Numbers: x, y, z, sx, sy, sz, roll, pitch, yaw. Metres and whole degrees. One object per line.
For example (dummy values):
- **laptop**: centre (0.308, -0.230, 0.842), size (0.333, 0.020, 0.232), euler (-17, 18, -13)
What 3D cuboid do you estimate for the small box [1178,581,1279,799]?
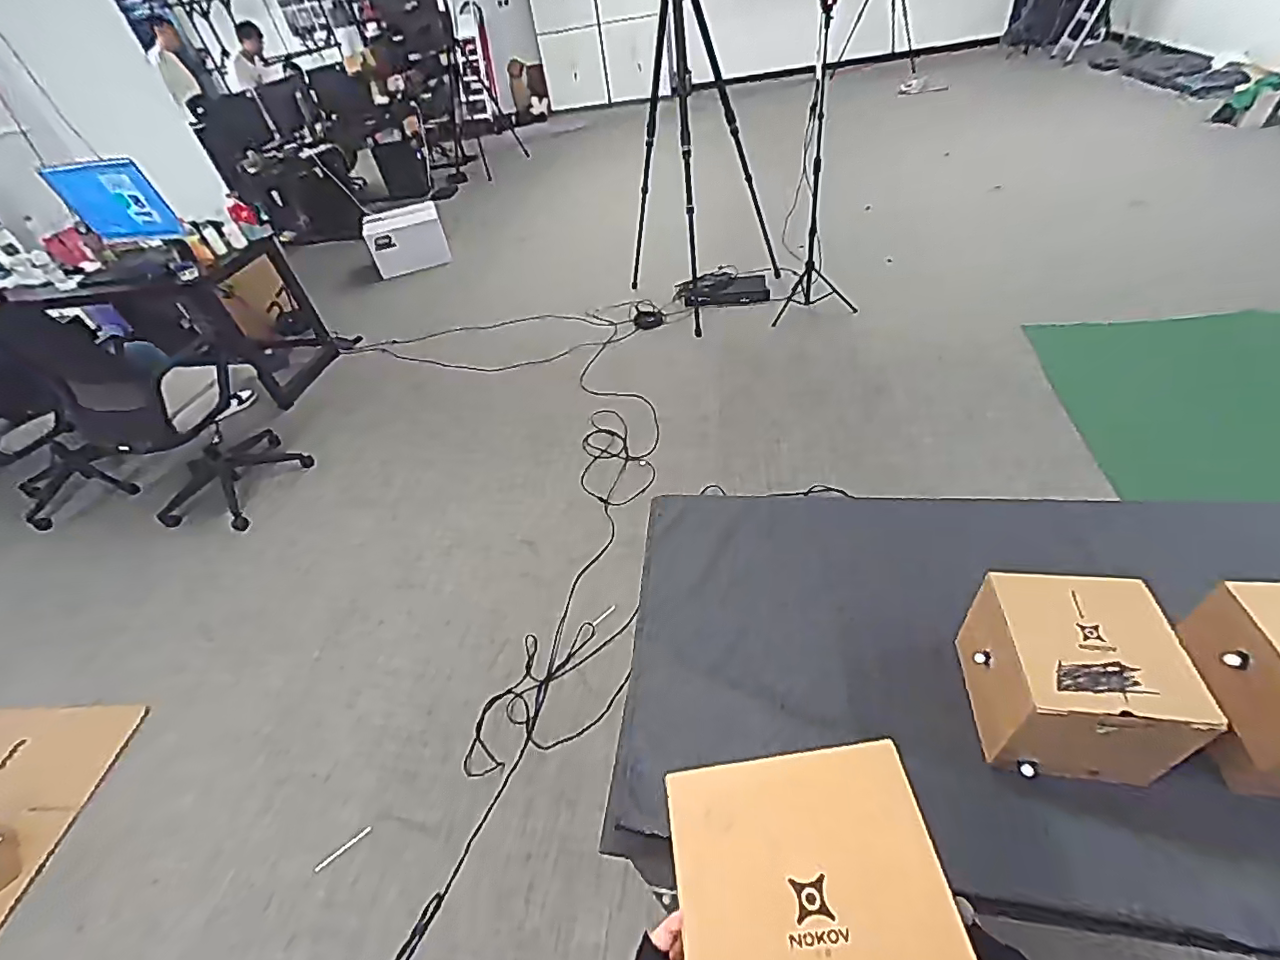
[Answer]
- **small box**: centre (0.743, 0.233, 0.594), size (0.168, 0.176, 0.179), euler (-1, 44, 12)

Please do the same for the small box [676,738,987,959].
- **small box**: centre (0.125, 0.311, 0.384), size (0.168, 0.176, 0.179), euler (-11, 46, 5)

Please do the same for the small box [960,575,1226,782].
- **small box**: centre (0.507, 0.236, 0.644), size (0.168, 0.176, 0.179), euler (0, 43, 13)
